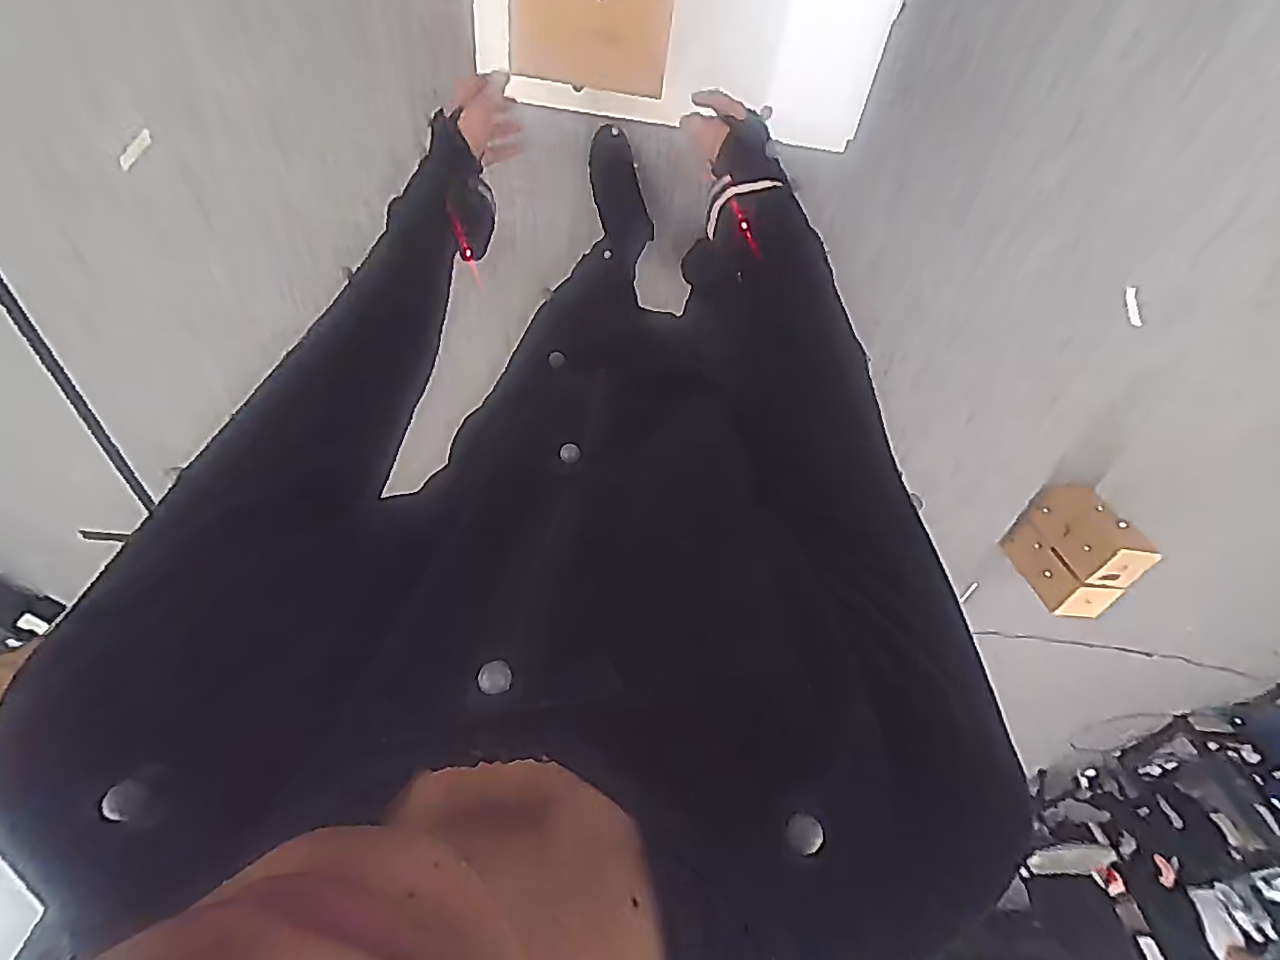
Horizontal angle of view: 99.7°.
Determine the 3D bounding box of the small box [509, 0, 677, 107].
[{"bbox_3d":[-0.046,-0.530,0.586,0.168,0.176,0.179,6,130,-6],"label":"small box"}]
